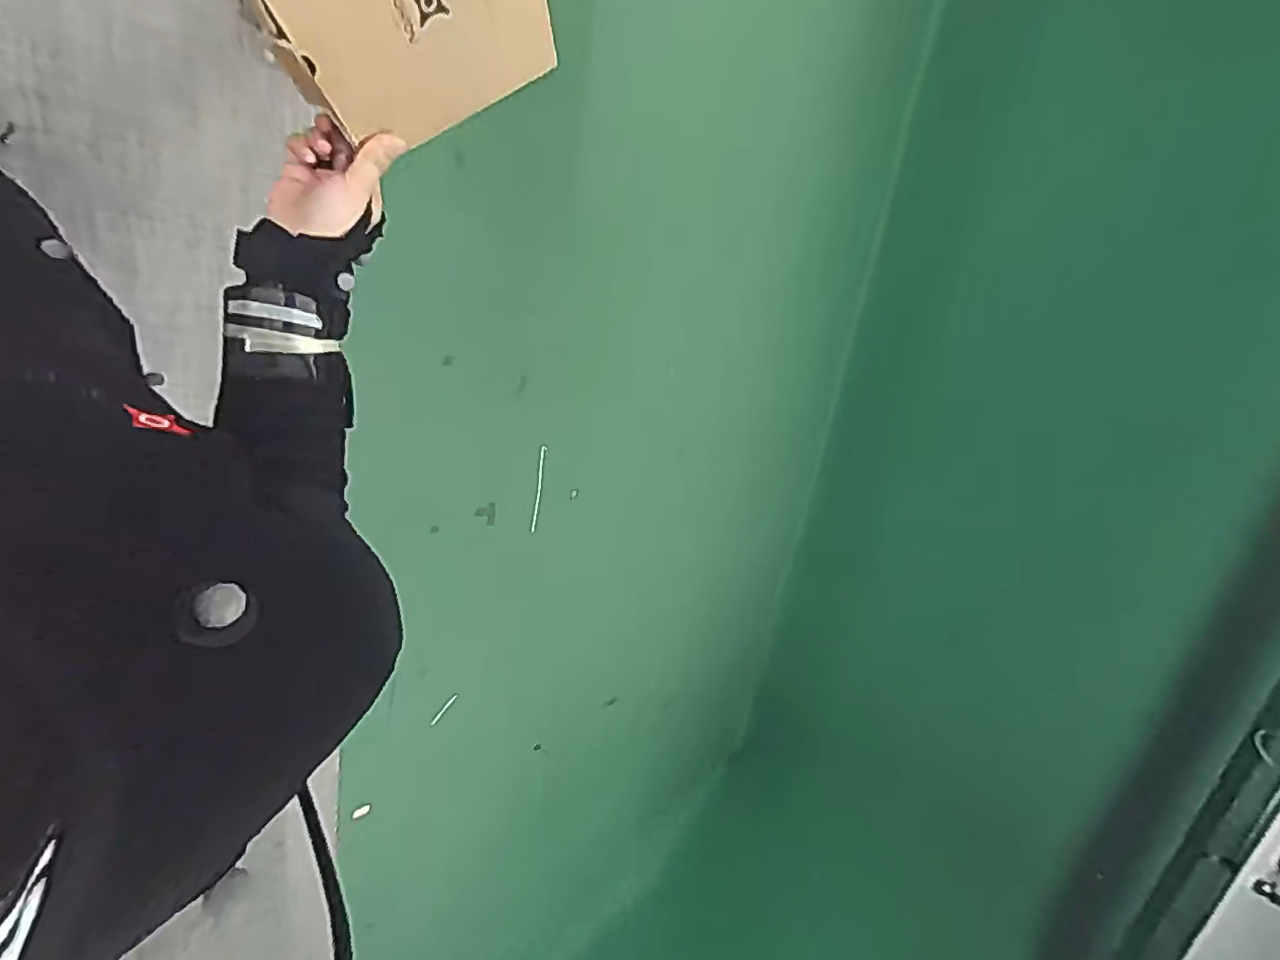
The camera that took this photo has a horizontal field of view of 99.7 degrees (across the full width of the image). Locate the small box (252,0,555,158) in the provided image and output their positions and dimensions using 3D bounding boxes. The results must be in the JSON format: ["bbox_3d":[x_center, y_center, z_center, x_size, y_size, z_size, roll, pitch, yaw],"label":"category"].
[{"bbox_3d":[-0.185,-0.372,0.357,0.179,0.176,0.168,-36,169,-7],"label":"small box"}]
